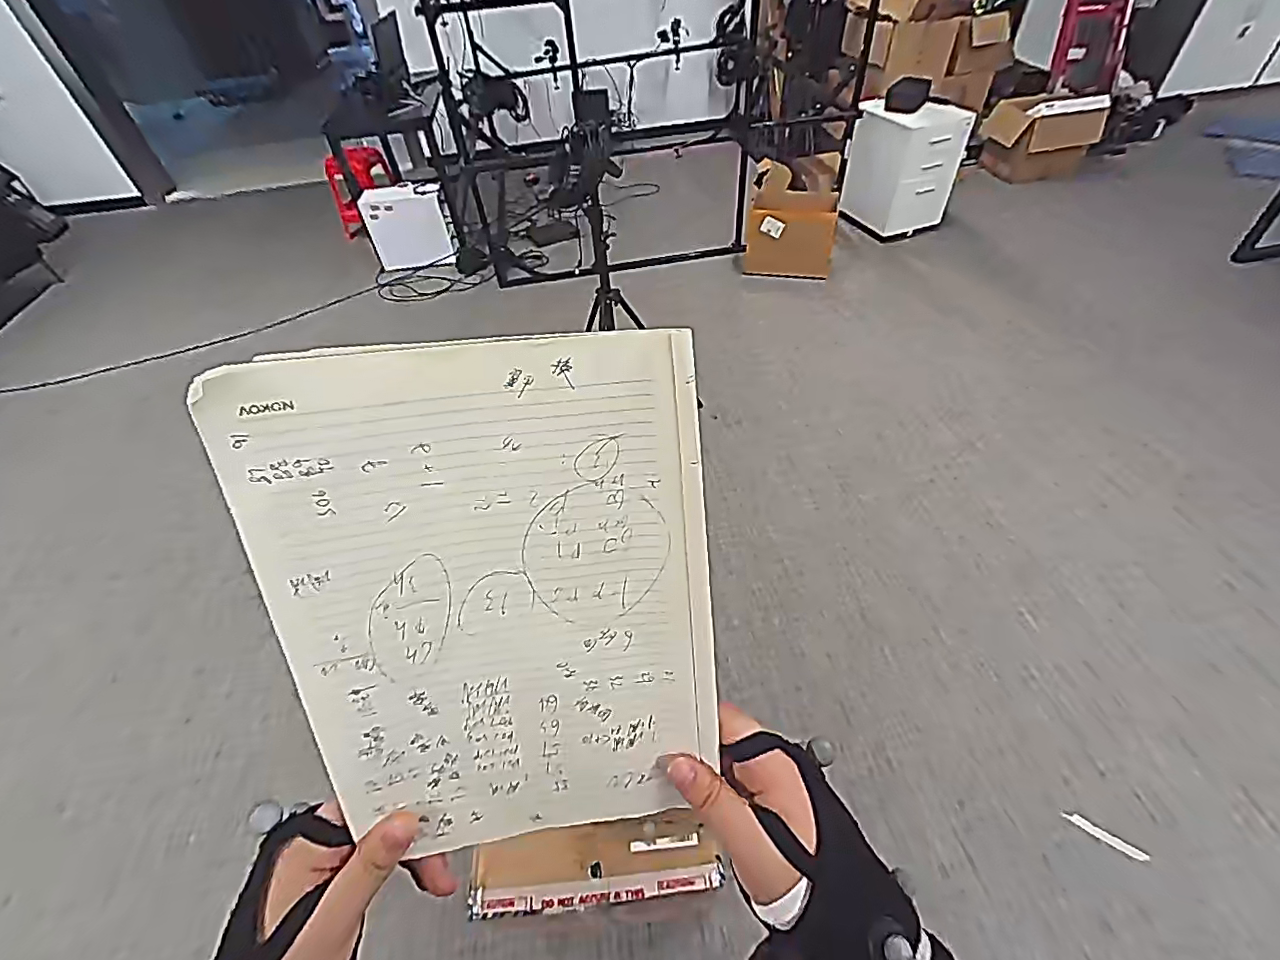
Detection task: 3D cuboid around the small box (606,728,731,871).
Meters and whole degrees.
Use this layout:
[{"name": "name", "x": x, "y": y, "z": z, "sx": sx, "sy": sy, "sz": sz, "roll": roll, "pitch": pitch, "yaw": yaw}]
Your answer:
[{"name": "small box", "x": 0.030, "y": 0.485, "z": 0.833, "sx": 0.179, "sy": 0.176, "sz": 0.168, "roll": -7, "pitch": 48, "yaw": -3}]

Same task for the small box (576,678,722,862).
[{"name": "small box", "x": 0.007, "y": 0.379, "z": 0.708, "sx": 0.168, "sy": 0.176, "sz": 0.179, "roll": -3, "pitch": 49, "yaw": -1}]
